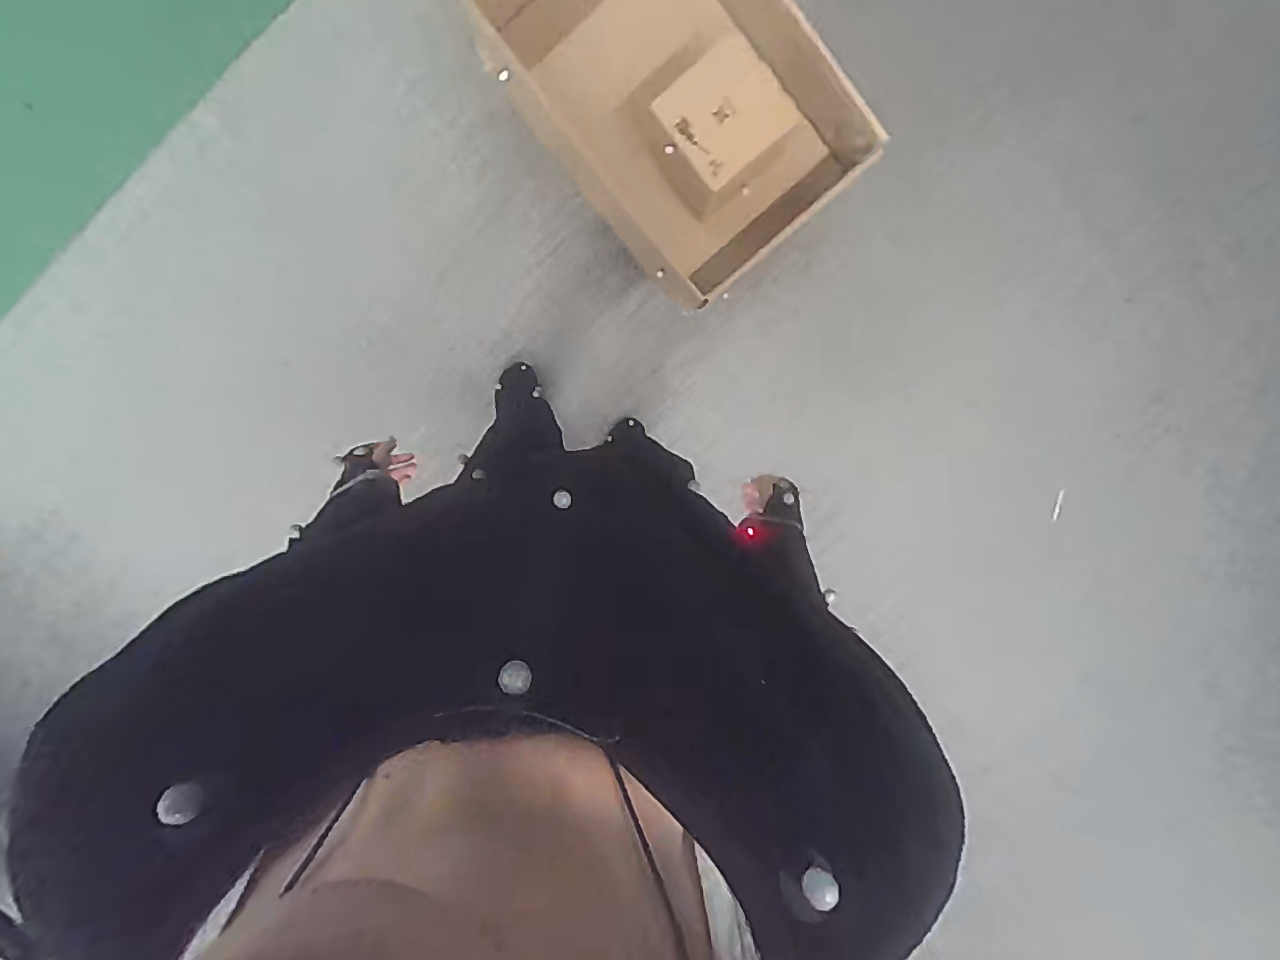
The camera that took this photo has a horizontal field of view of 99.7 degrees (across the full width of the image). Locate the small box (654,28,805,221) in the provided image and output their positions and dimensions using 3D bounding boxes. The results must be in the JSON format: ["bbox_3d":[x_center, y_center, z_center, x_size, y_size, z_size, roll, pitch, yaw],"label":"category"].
[{"bbox_3d":[0.136,-0.577,0.904,0.179,0.176,0.168,-38,96,4],"label":"small box"}]
